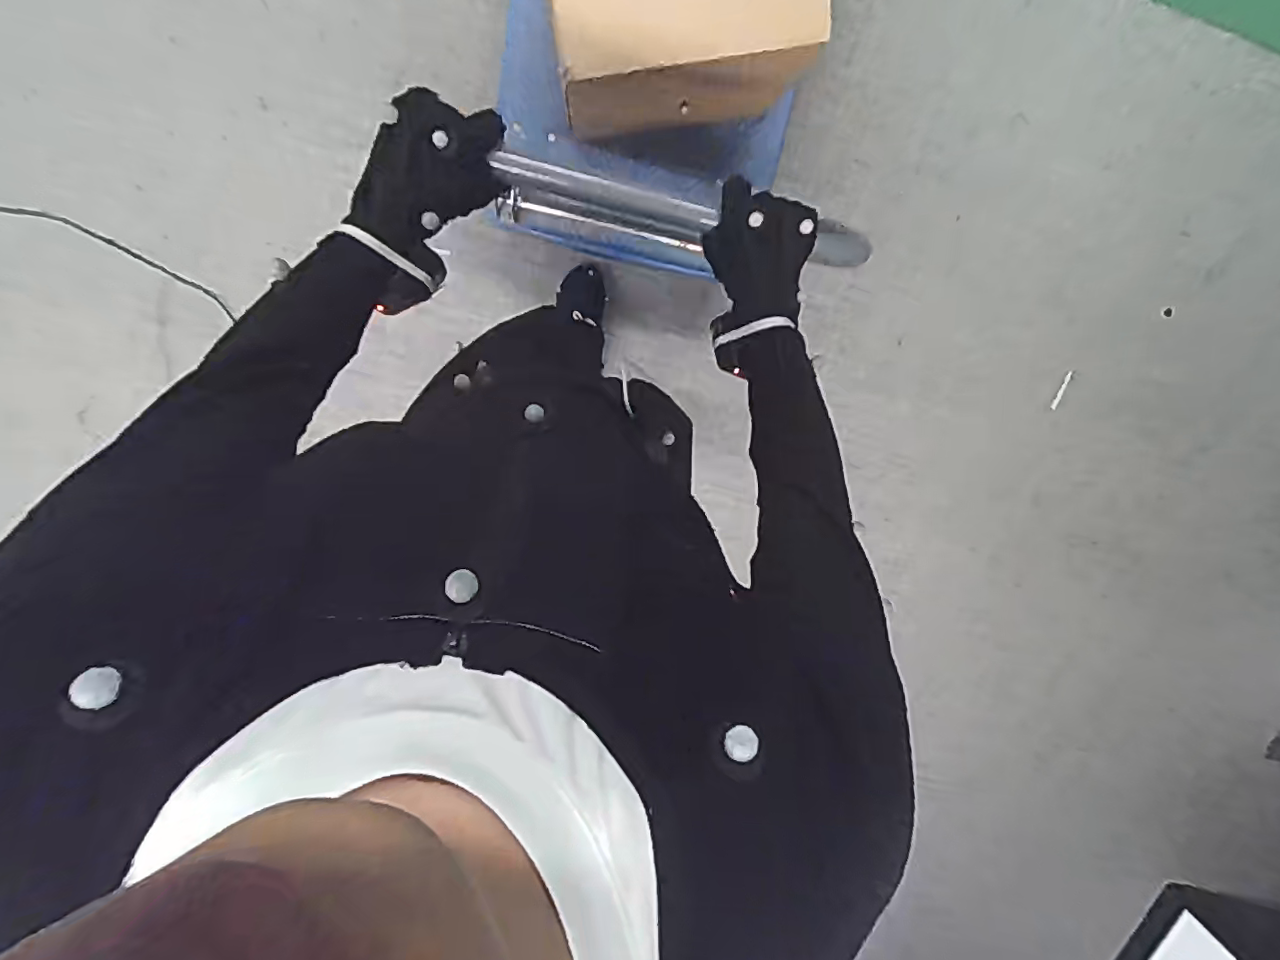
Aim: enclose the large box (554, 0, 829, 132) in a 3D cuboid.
[{"bbox_3d":[0.058,-0.830,0.906,0.408,0.320,0.320,-10,107,0],"label":"large box"}]
